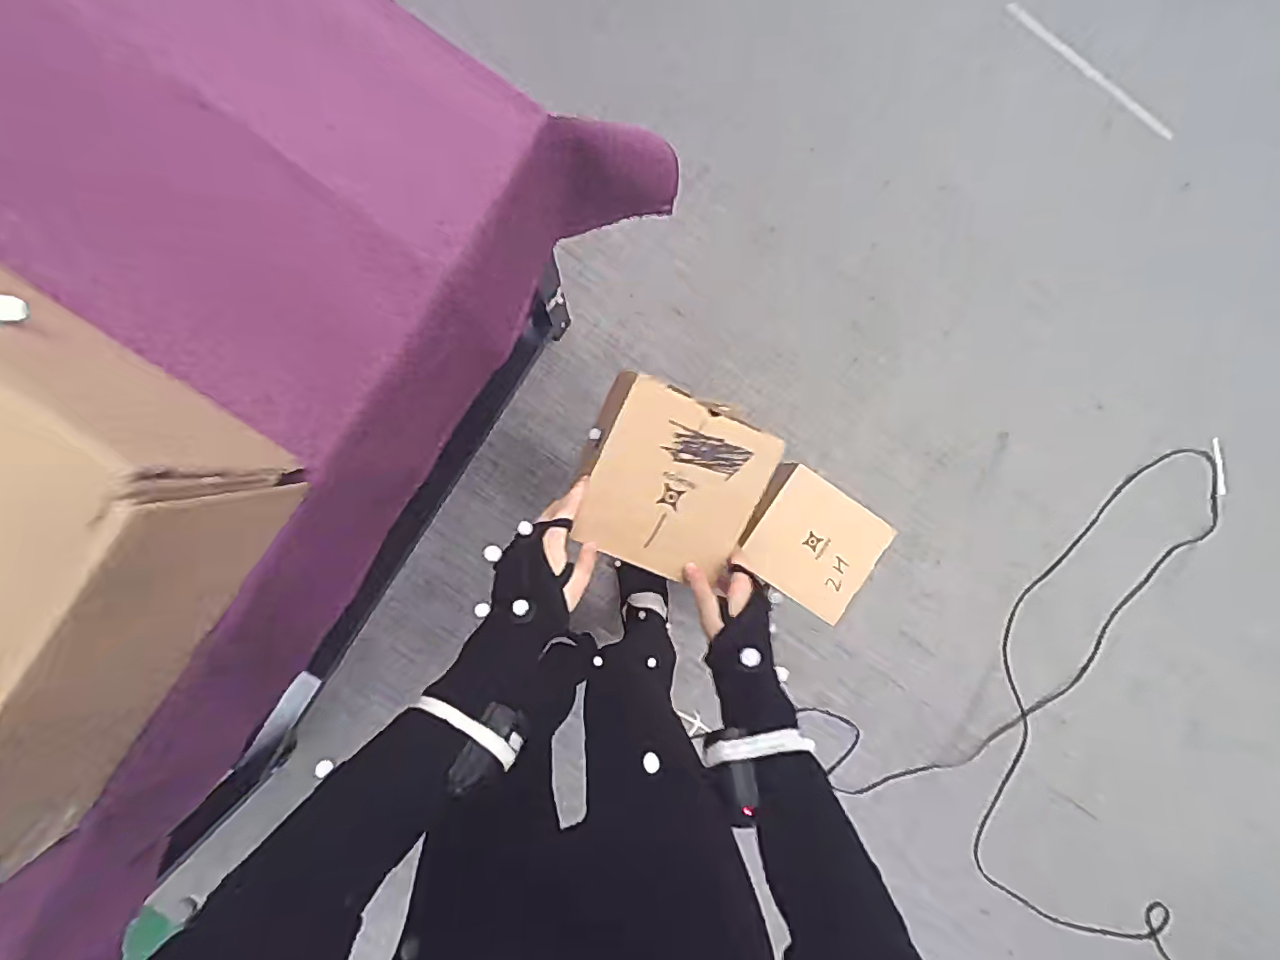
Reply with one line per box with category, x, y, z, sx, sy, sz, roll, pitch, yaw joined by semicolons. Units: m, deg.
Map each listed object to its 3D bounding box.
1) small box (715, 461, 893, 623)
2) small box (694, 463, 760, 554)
small box;0.237;0.086;0.835;0.179;0.176;0.168;35;91;-4
small box;0.229;0.076;1.165;0.168;0.176;0.179;28;91;-5
